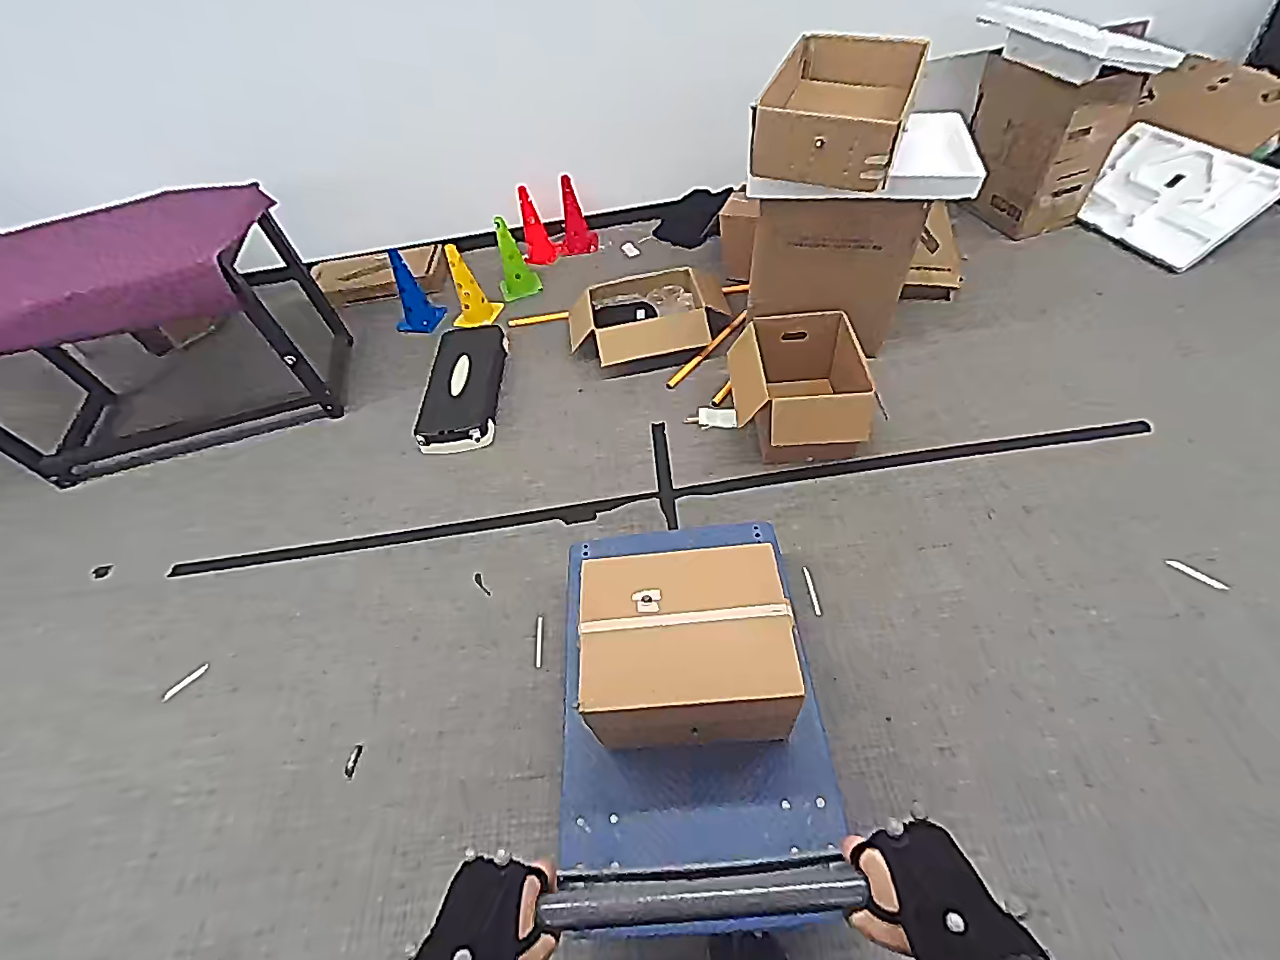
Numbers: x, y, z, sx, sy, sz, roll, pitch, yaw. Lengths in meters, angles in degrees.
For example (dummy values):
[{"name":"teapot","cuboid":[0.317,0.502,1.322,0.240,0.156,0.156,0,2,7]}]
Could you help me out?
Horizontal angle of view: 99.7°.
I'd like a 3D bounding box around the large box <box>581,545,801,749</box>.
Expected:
[{"name":"large box","cuboid":[0.102,0.373,1.176,0.408,0.320,0.320,-7,50,4]}]
